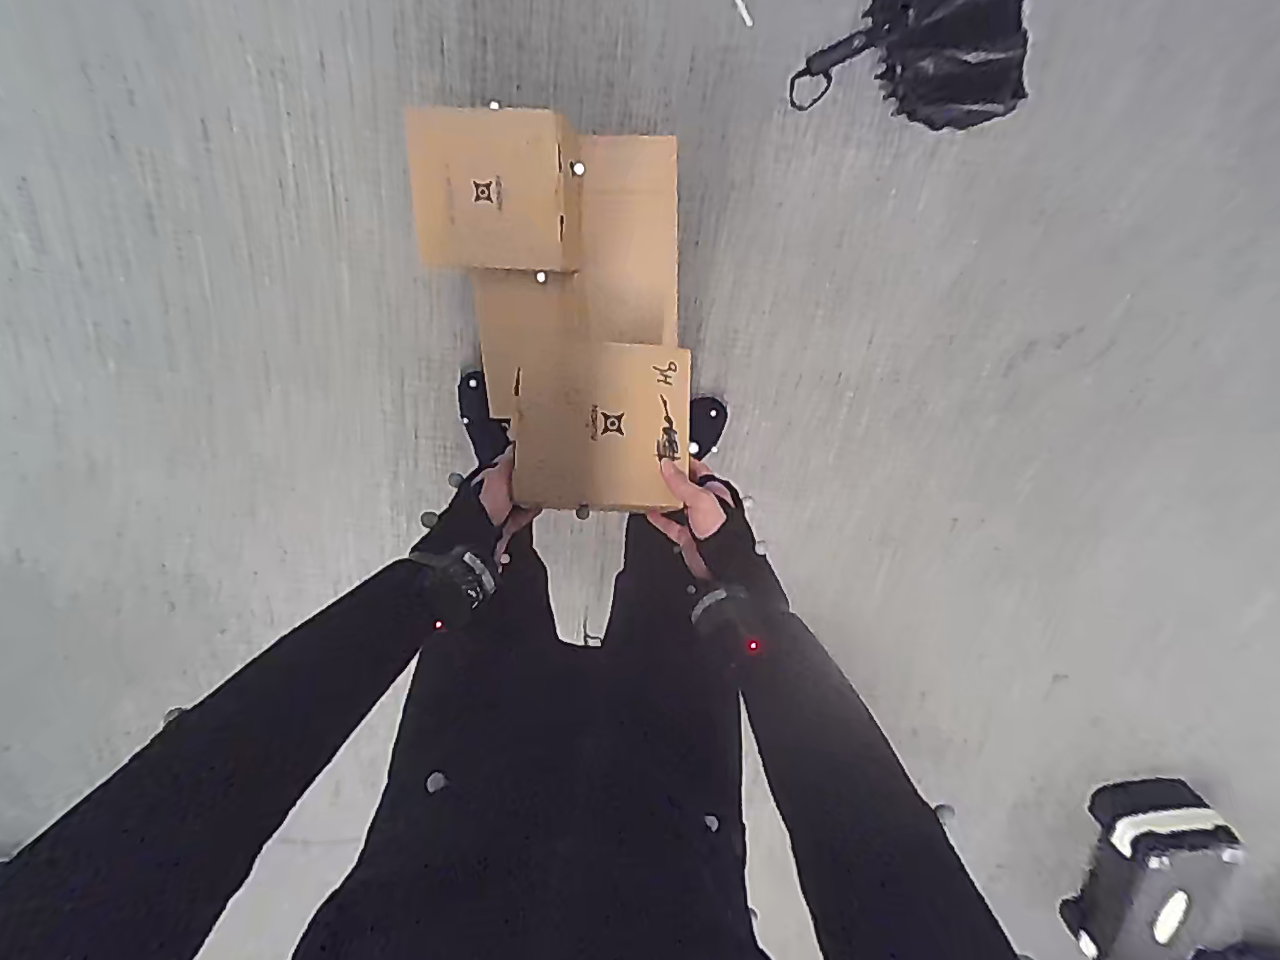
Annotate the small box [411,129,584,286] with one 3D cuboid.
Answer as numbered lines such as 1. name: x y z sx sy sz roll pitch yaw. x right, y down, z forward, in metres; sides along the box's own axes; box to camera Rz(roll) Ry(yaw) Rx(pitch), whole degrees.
1. small box: -0.168 -0.343 0.704 0.179 0.176 0.168 2 110 3

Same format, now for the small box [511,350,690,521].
1. small box: -0.046 -0.039 0.622 0.179 0.176 0.168 3 85 -7
